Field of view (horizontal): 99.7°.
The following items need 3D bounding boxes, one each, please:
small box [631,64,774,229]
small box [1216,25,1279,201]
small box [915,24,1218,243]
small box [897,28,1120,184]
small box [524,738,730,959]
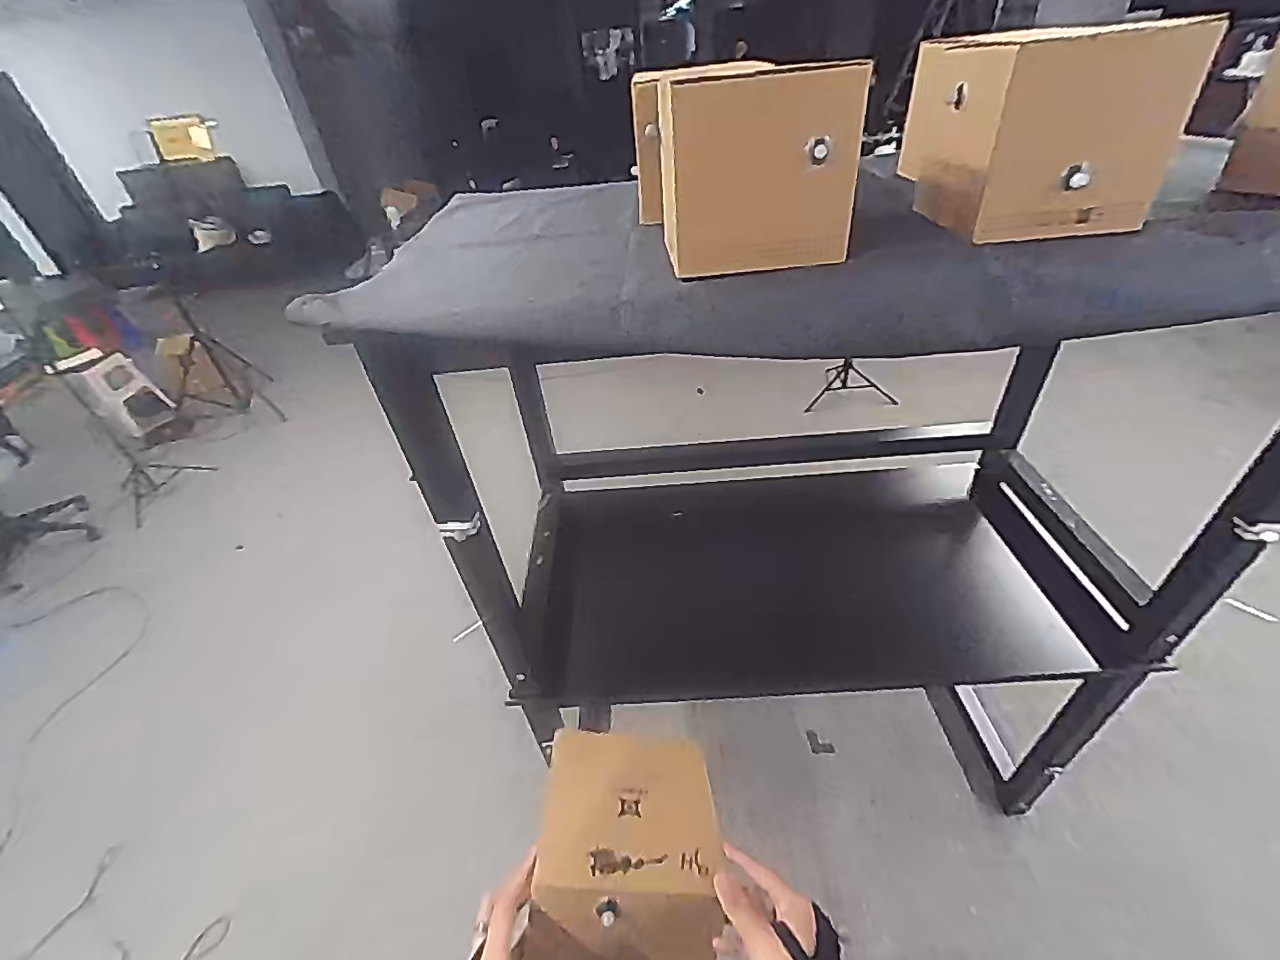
[{"bbox_3d":[0.082,-0.470,0.763,0.179,0.176,0.168,-4,39,4],"label":"small box"},{"bbox_3d":[0.756,-0.374,0.530,0.168,0.176,0.179,-8,33,-1],"label":"small box"},{"bbox_3d":[0.417,-0.362,0.575,0.168,0.176,0.179,-3,38,6],"label":"small box"},{"bbox_3d":[0.481,-0.502,0.742,0.168,0.176,0.179,-5,39,0],"label":"small box"},{"bbox_3d":[-0.018,0.396,0.542,0.168,0.176,0.179,7,14,-3],"label":"small box"}]
